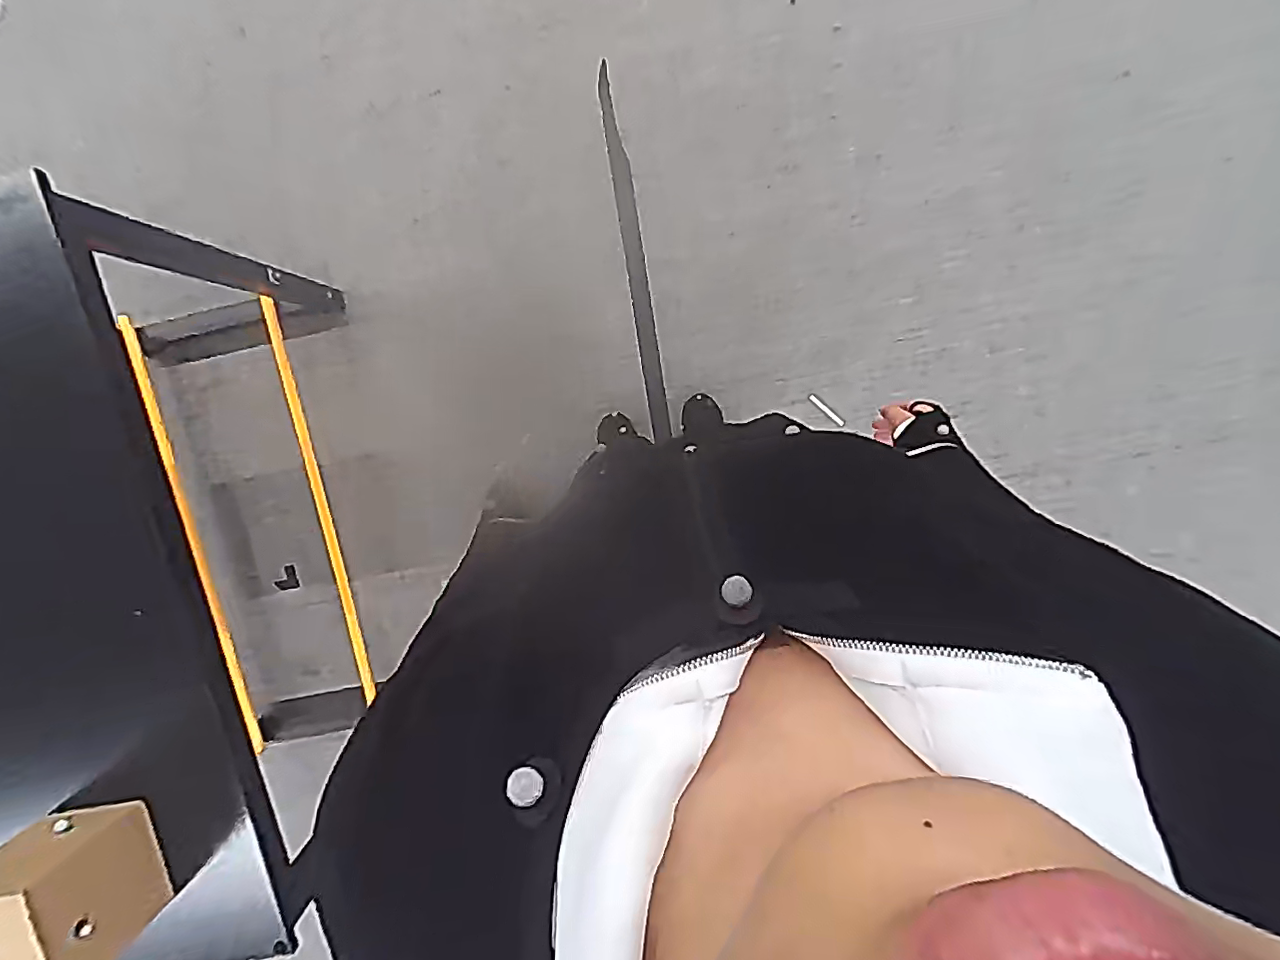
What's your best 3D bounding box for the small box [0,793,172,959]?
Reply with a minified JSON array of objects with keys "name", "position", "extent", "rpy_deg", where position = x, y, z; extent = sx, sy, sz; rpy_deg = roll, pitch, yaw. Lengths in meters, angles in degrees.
[{"name":"small box","position":[-0.834,0.594,0.778],"extent":[0.168,0.176,0.179],"rpy_deg":[-10,97,2]}]
